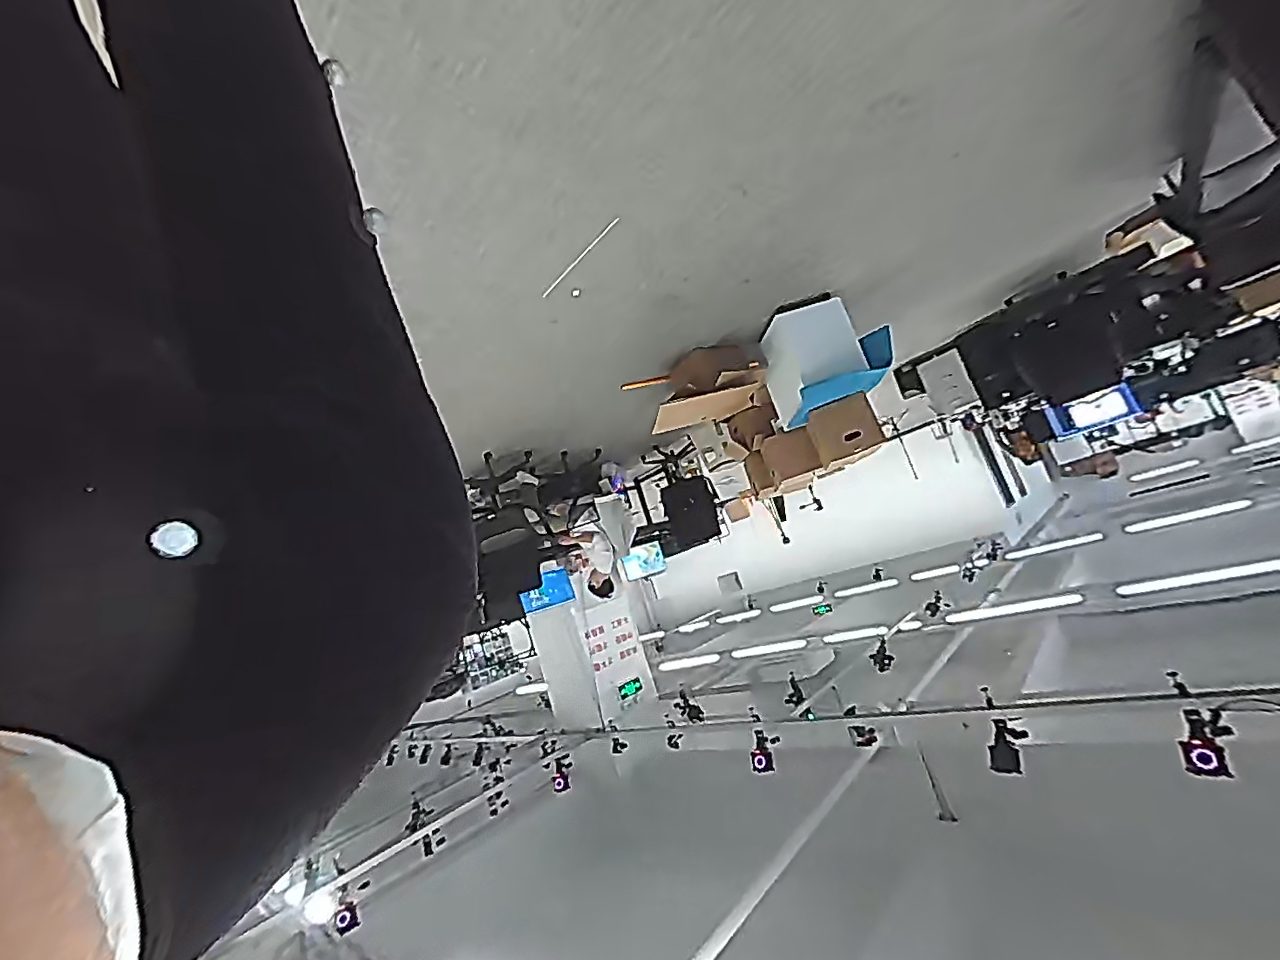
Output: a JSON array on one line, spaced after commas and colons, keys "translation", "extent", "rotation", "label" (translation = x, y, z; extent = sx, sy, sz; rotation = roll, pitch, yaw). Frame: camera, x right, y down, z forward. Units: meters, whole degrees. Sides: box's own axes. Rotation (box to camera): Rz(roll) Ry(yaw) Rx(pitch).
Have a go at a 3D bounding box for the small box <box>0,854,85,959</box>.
[{"translation": [-1.615, 1.139, 1.439], "extent": [0.179, 0.176, 0.168], "rotation": [-7, 167, -43], "label": "small box"}]
